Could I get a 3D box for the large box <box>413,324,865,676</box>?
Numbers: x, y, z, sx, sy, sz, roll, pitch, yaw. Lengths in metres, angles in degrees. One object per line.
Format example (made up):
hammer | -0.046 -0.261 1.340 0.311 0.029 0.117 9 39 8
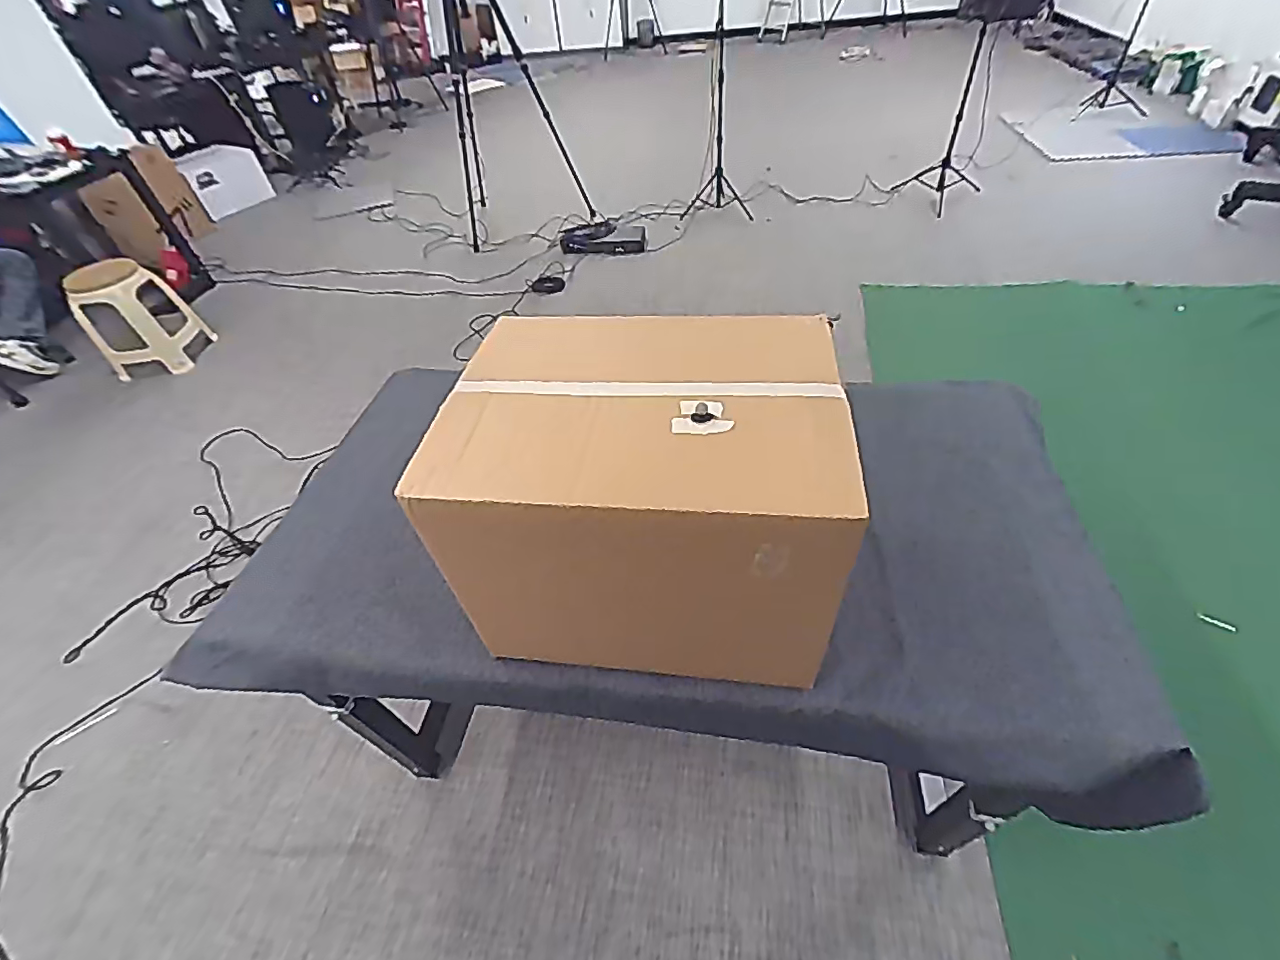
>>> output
large box | 0.015 0.019 0.671 0.408 0.320 0.320 3 46 8
